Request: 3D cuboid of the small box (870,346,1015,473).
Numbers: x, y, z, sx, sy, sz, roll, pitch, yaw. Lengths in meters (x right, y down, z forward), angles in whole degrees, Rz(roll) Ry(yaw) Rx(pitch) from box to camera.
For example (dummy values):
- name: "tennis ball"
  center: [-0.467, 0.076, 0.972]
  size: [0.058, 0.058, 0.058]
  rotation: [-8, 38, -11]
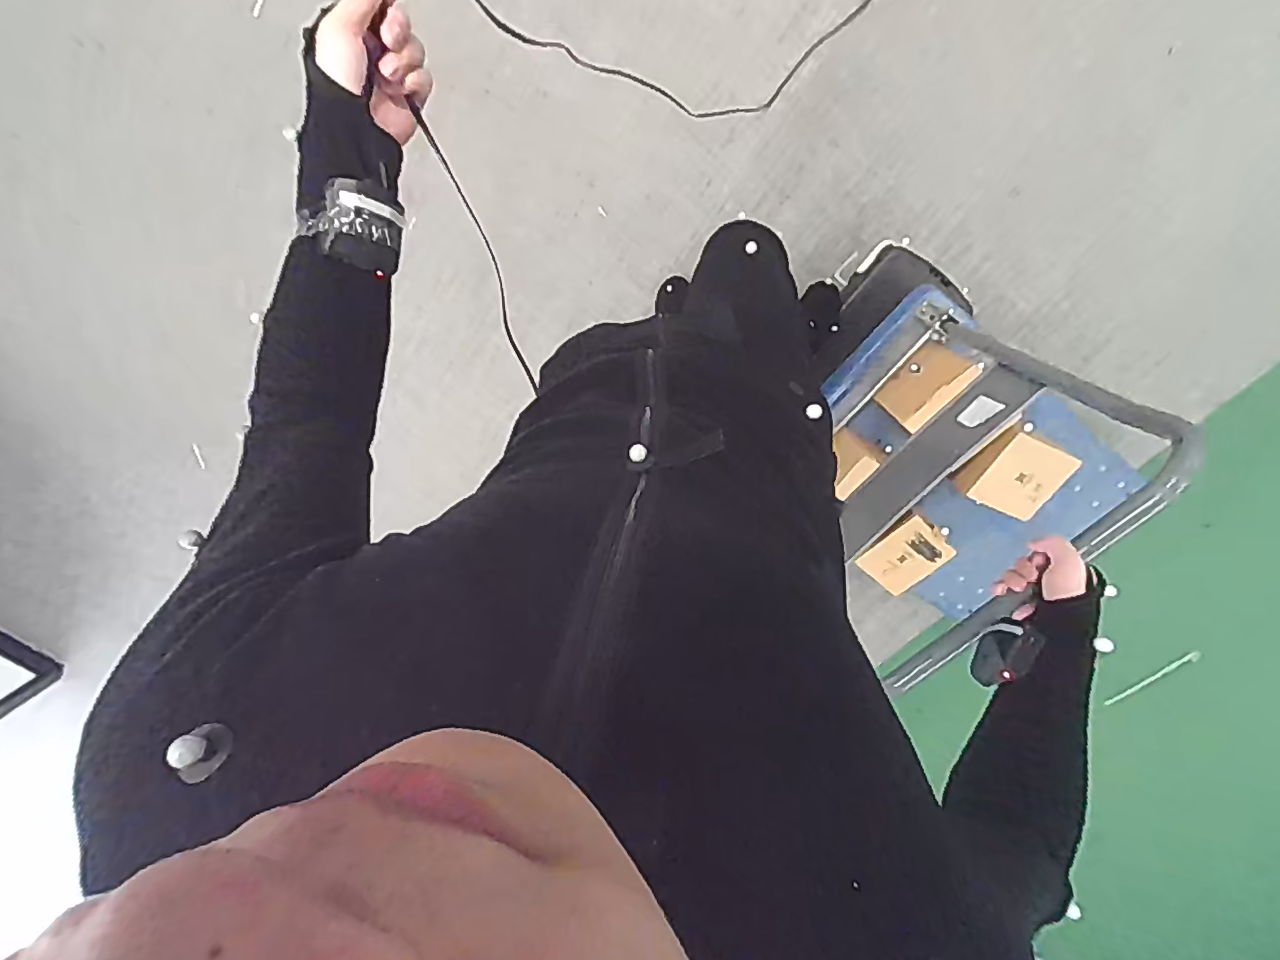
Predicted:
- name: "small box"
  center: [0.624, -0.154, 1.136]
  size: [0.179, 0.176, 0.168]
  rotation: [36, 113, -19]

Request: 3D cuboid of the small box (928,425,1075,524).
- name: "small box"
  center: [0.791, -0.036, 1.205]
  size: [0.179, 0.176, 0.168]
  rotation: [21, 118, -13]
